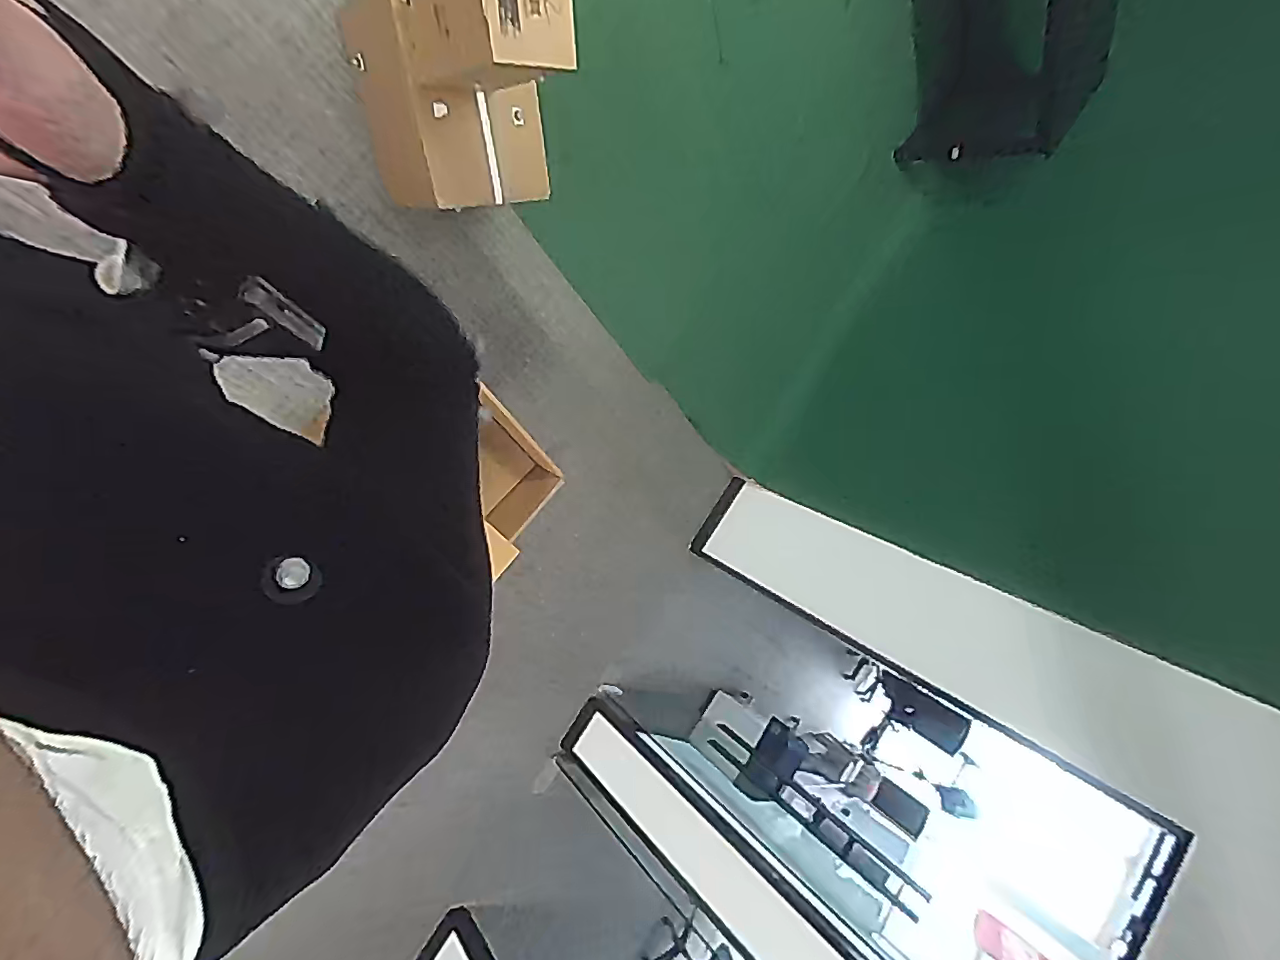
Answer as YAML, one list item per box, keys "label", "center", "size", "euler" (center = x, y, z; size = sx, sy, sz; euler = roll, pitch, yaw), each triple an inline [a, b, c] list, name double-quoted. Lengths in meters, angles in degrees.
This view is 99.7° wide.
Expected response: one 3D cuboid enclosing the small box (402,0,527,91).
- label: "small box"
  center: [-0.349, -0.881, 1.065]
  size: [0.179, 0.176, 0.168]
  euler: [-25, 128, -36]
